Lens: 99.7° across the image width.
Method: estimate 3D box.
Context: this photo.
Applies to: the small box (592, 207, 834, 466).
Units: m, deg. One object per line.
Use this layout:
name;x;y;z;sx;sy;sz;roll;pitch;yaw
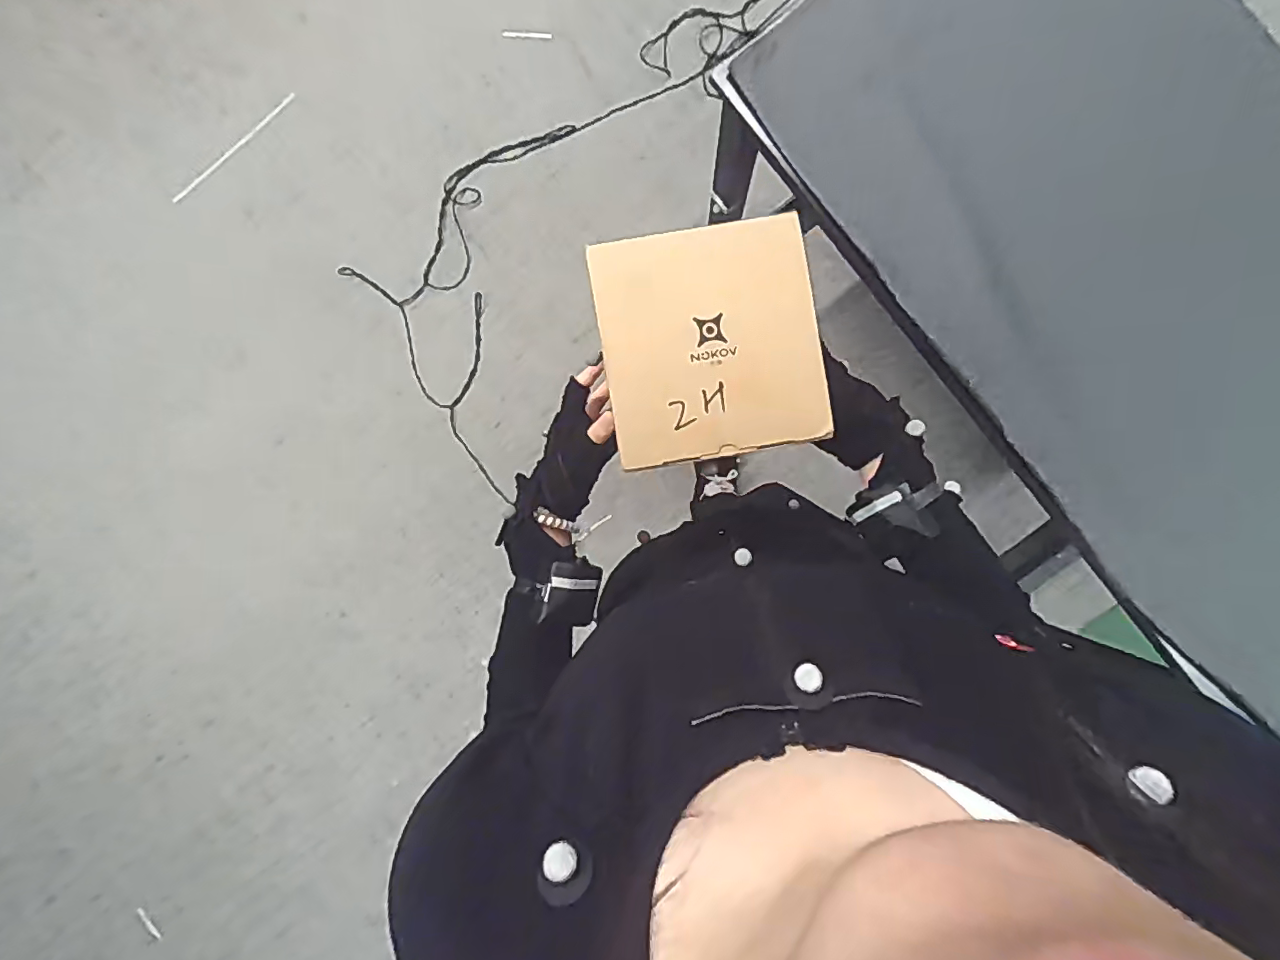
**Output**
small box;0.053;-0.110;0.488;0.168;0.176;0.179;-10;91;0
